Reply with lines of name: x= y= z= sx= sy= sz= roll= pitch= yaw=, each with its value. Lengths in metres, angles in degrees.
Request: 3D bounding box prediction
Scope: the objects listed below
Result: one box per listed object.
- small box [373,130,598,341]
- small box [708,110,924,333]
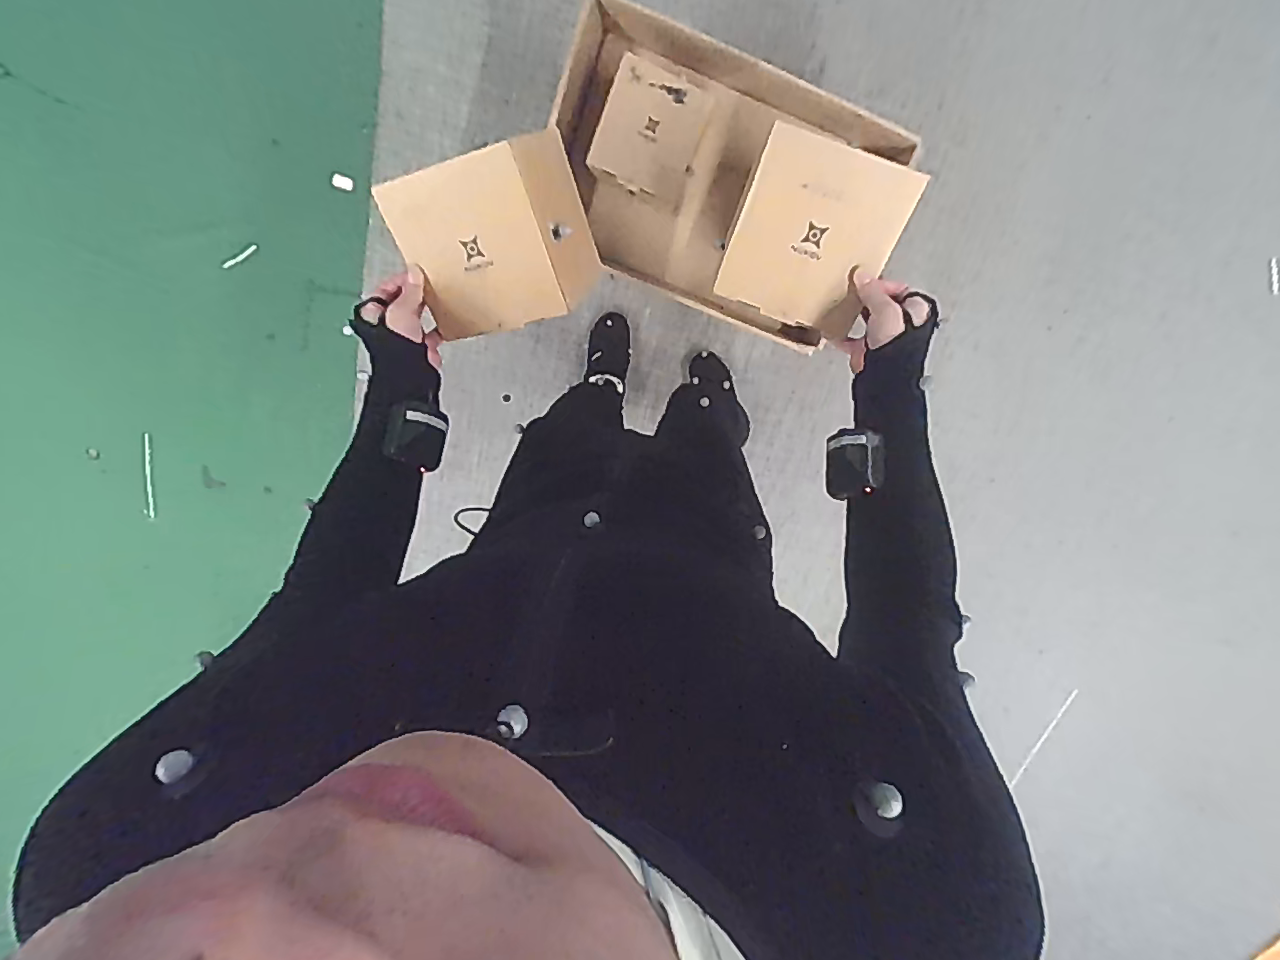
small box: x=-0.166 y=-0.295 z=0.643 sx=0.168 sy=0.176 sz=0.179 roll=-9 pitch=125 yaw=18
small box: x=0.190 y=-0.300 z=0.634 sx=0.168 sy=0.176 sz=0.179 roll=19 pitch=120 yaw=-1
